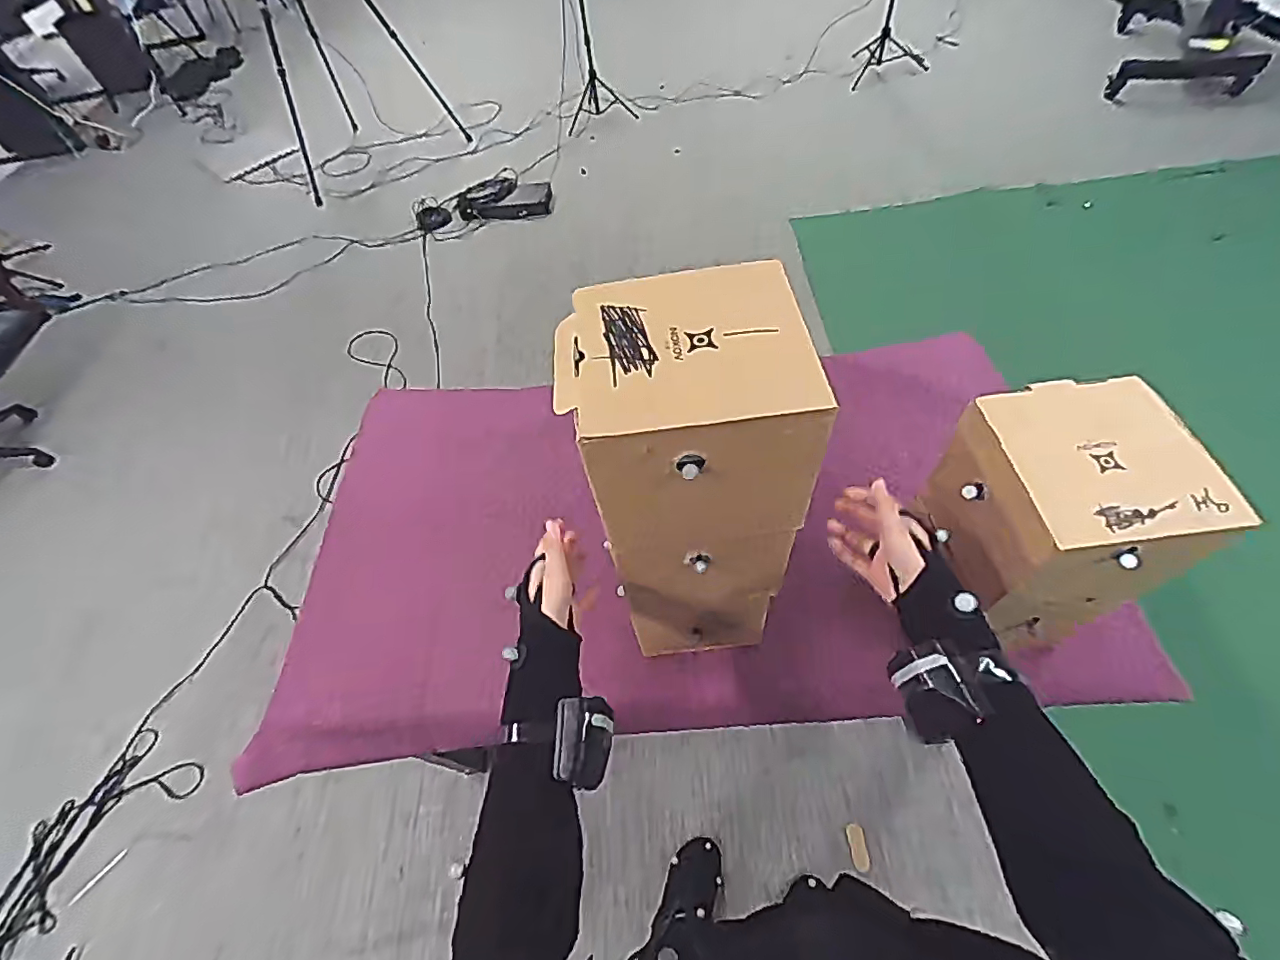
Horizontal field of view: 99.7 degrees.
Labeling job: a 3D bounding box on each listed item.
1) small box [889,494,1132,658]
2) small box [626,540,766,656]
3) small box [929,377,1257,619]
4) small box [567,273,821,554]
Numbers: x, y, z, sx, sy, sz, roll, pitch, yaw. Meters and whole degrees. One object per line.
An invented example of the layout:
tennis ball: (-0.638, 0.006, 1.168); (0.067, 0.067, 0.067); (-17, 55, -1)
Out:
small box: (0.451, 0.118, 0.696); (0.179, 0.176, 0.168); (-10, 56, 4)
small box: (0.074, 0.132, 0.744); (0.168, 0.176, 0.179); (-7, 54, 3)
small box: (0.431, 0.024, 0.562); (0.168, 0.176, 0.179); (-9, 55, 5)
small box: (0.041, -0.049, 0.474); (0.179, 0.176, 0.168); (-8, 56, 3)
